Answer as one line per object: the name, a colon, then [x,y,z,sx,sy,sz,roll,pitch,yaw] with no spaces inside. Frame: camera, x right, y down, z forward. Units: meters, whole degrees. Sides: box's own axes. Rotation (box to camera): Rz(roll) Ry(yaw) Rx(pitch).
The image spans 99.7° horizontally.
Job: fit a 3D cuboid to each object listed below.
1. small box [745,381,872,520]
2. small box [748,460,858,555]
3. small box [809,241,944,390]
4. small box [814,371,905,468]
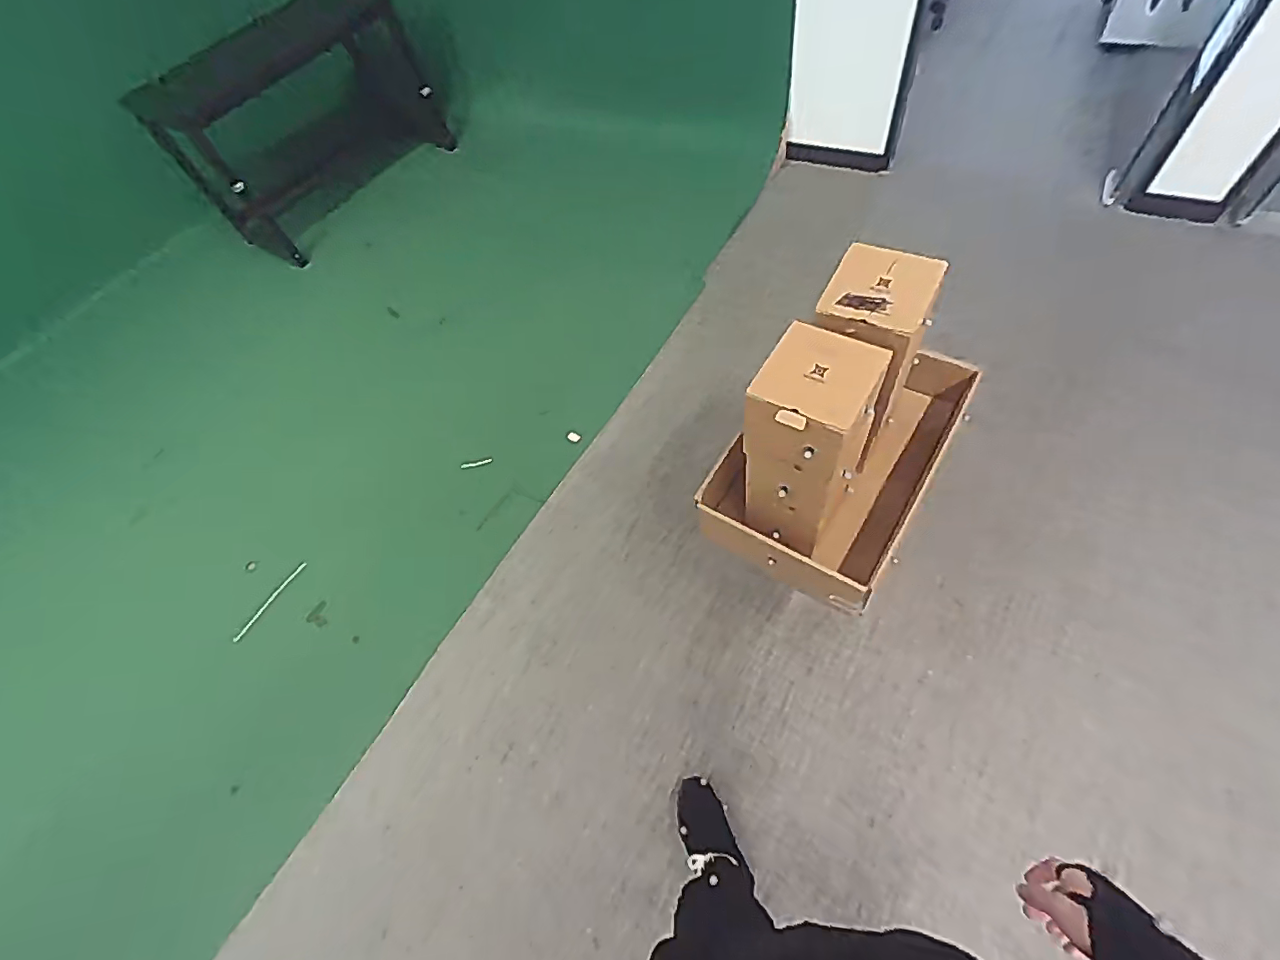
small box: [0.319,-0.052,1.041,0.168,0.176,0.179,28,69,24]
small box: [0.347,0.030,1.179,0.168,0.176,0.179,27,68,25]
small box: [0.415,-0.292,0.975,0.168,0.176,0.179,23,69,23]
small box: [0.489,-0.159,1.268,0.168,0.176,0.179,26,71,23]
